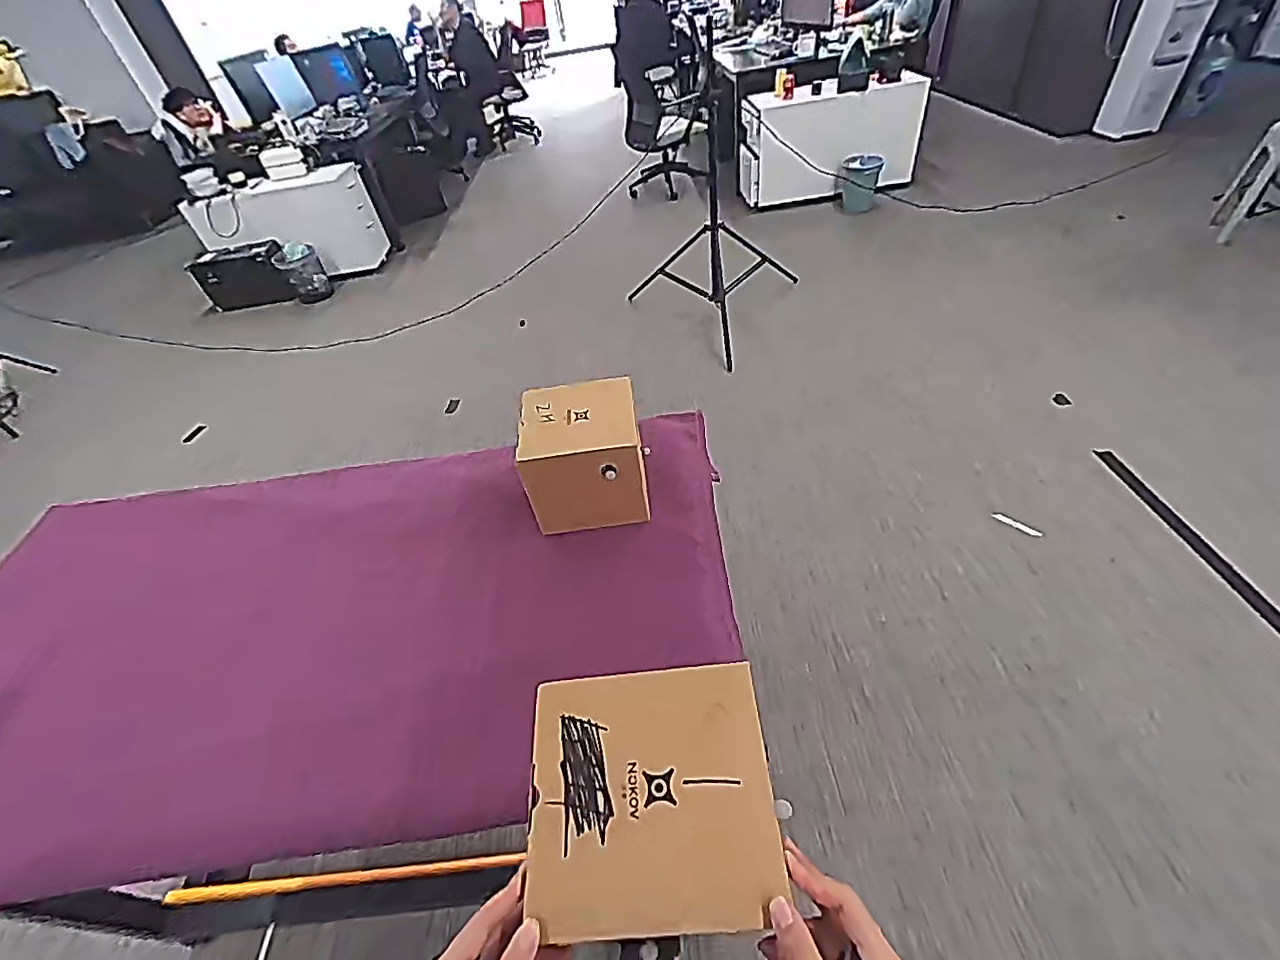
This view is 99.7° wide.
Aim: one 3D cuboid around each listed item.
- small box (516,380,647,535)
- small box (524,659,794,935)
[{"bbox_3d":[-0.084,-0.033,0.859,0.179,0.176,0.168,-8,45,2],"label":"small box"},{"bbox_3d":[0.021,0.266,0.447,0.179,0.176,0.168,-8,50,5],"label":"small box"}]
